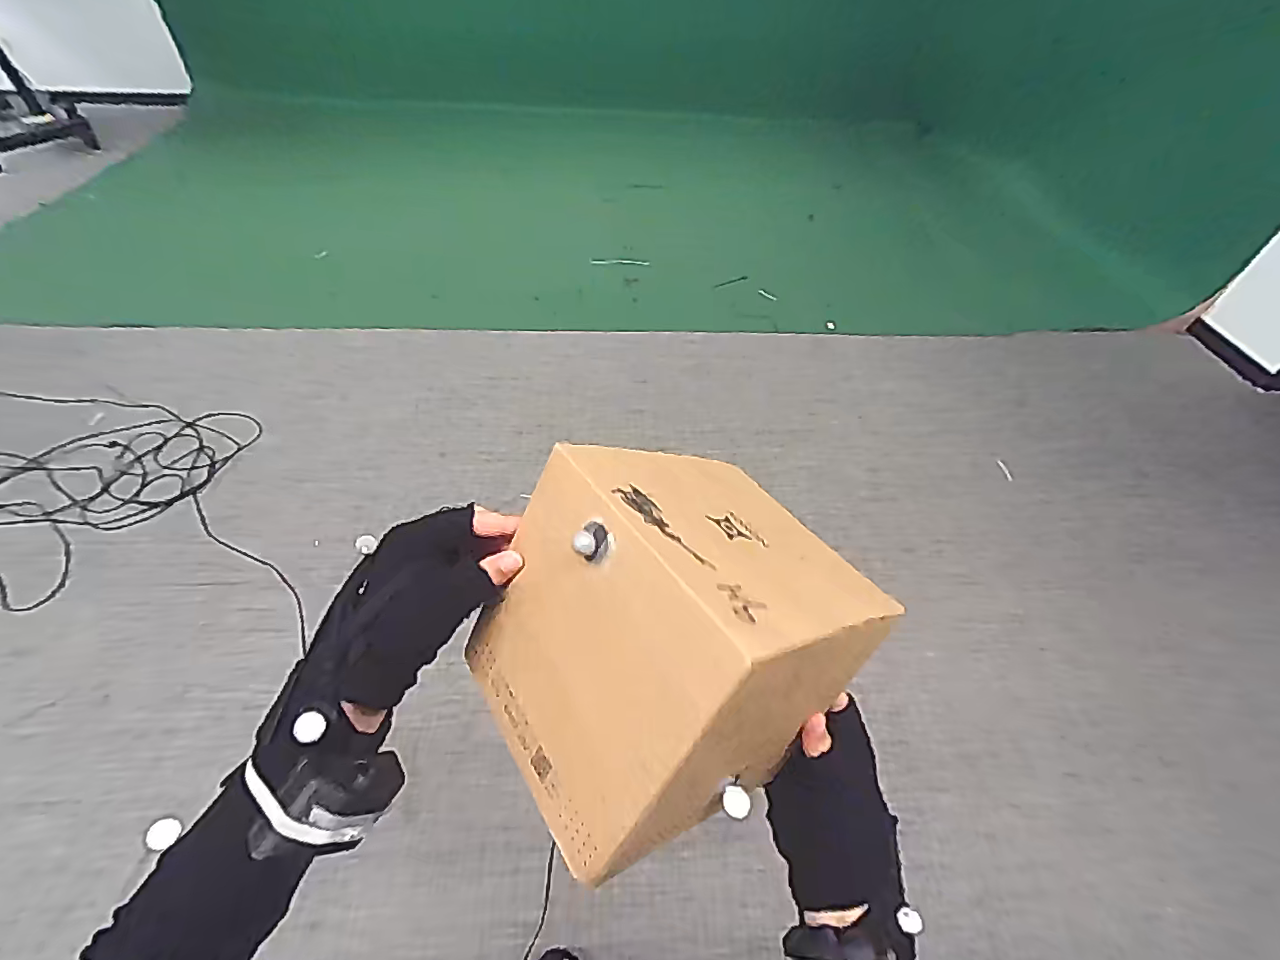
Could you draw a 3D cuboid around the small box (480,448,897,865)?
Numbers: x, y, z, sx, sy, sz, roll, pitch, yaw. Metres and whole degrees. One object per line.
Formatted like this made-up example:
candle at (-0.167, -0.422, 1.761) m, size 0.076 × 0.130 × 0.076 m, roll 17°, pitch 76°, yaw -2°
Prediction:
small box at (0.024, 0.101, 0.359) m, size 0.179 × 0.176 × 0.168 m, roll 5°, pitch 32°, yaw -46°
